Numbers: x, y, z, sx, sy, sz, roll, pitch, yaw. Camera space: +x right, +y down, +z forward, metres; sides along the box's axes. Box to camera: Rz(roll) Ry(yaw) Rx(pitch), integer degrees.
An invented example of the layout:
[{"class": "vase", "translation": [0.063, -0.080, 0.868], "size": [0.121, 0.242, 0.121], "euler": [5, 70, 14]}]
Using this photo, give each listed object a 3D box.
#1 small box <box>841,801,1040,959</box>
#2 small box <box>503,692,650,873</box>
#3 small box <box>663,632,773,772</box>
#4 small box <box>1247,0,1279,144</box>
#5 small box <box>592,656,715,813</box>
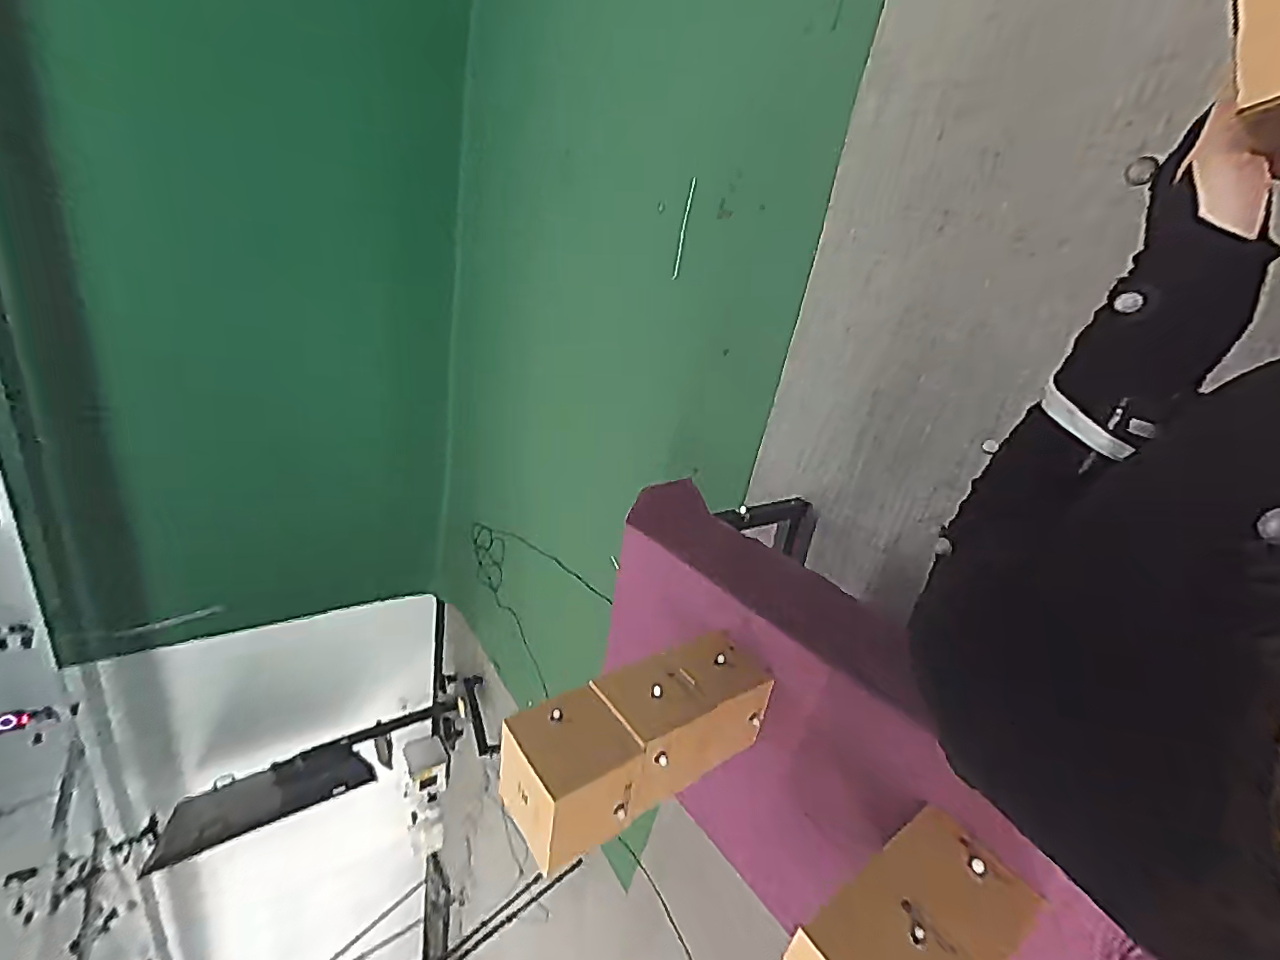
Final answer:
[{"class": "small box", "translation": [0.425, 0.610, 0.767], "size": [0.168, 0.176, 0.179], "euler": [34, 121, 44]}, {"class": "small box", "translation": [-0.109, 0.481, 0.896], "size": [0.179, 0.176, 0.168], "euler": [31, 121, 45]}, {"class": "small box", "translation": [0.145, 0.438, 1.099], "size": [0.168, 0.176, 0.179], "euler": [32, 120, 45]}, {"class": "small box", "translation": [0.365, -0.251, 0.199], "size": [0.179, 0.176, 0.168], "euler": [1, 100, 55]}, {"class": "small box", "translation": [0.017, 0.457, 0.996], "size": [0.168, 0.176, 0.179], "euler": [32, 121, 46]}]
